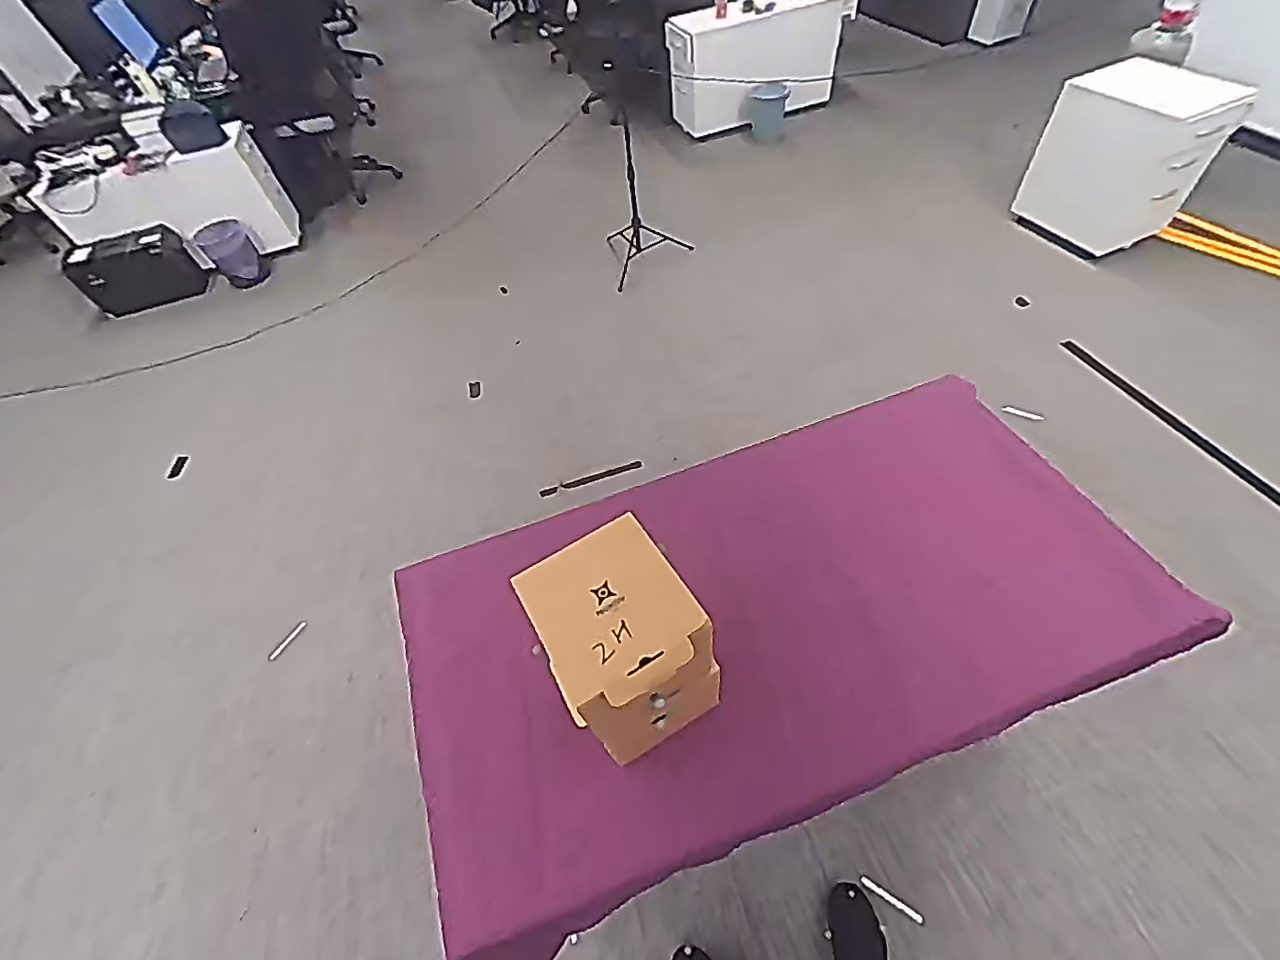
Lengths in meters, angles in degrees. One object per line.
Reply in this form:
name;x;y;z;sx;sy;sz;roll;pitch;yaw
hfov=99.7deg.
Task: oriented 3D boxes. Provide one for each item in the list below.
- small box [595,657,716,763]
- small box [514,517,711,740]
small box;-0.002;0.284;0.793;0.179;0.176;0.168;-27;55;-14
small box;-0.029;0.185;0.664;0.168;0.176;0.179;-29;55;-13
